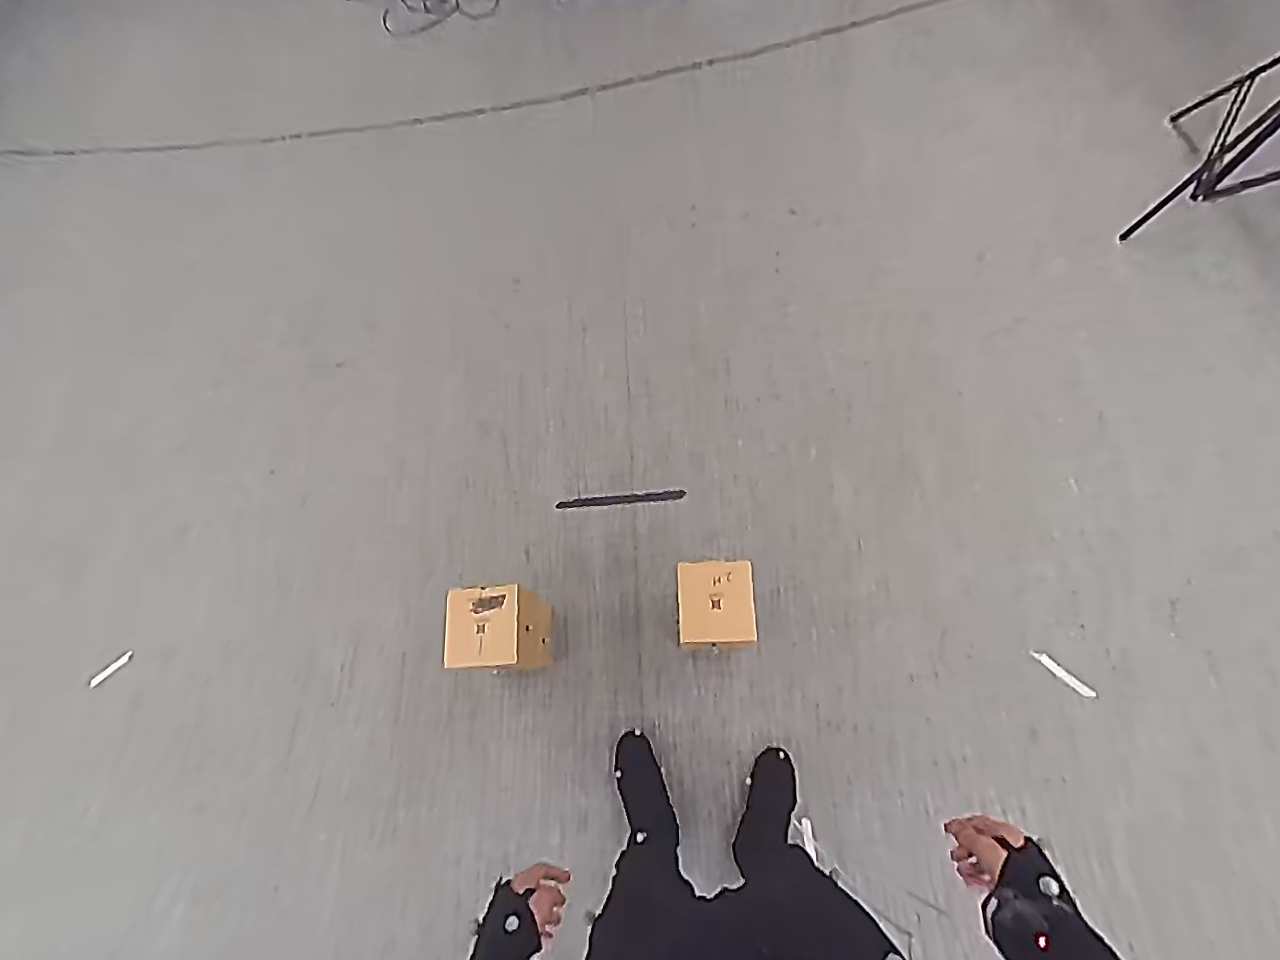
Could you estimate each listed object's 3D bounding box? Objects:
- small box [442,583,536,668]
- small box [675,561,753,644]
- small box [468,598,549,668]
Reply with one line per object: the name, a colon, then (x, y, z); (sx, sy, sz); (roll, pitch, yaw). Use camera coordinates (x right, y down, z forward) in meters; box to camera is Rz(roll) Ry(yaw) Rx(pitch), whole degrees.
small box: (-0.348, 0.348, 1.277); (0.168, 0.176, 0.179); (-5, 71, 4)
small box: (0.167, 0.290, 1.257); (0.168, 0.176, 0.179); (-2, 70, 4)
small box: (-0.341, 0.406, 1.431); (0.179, 0.176, 0.168); (-5, 70, 3)
